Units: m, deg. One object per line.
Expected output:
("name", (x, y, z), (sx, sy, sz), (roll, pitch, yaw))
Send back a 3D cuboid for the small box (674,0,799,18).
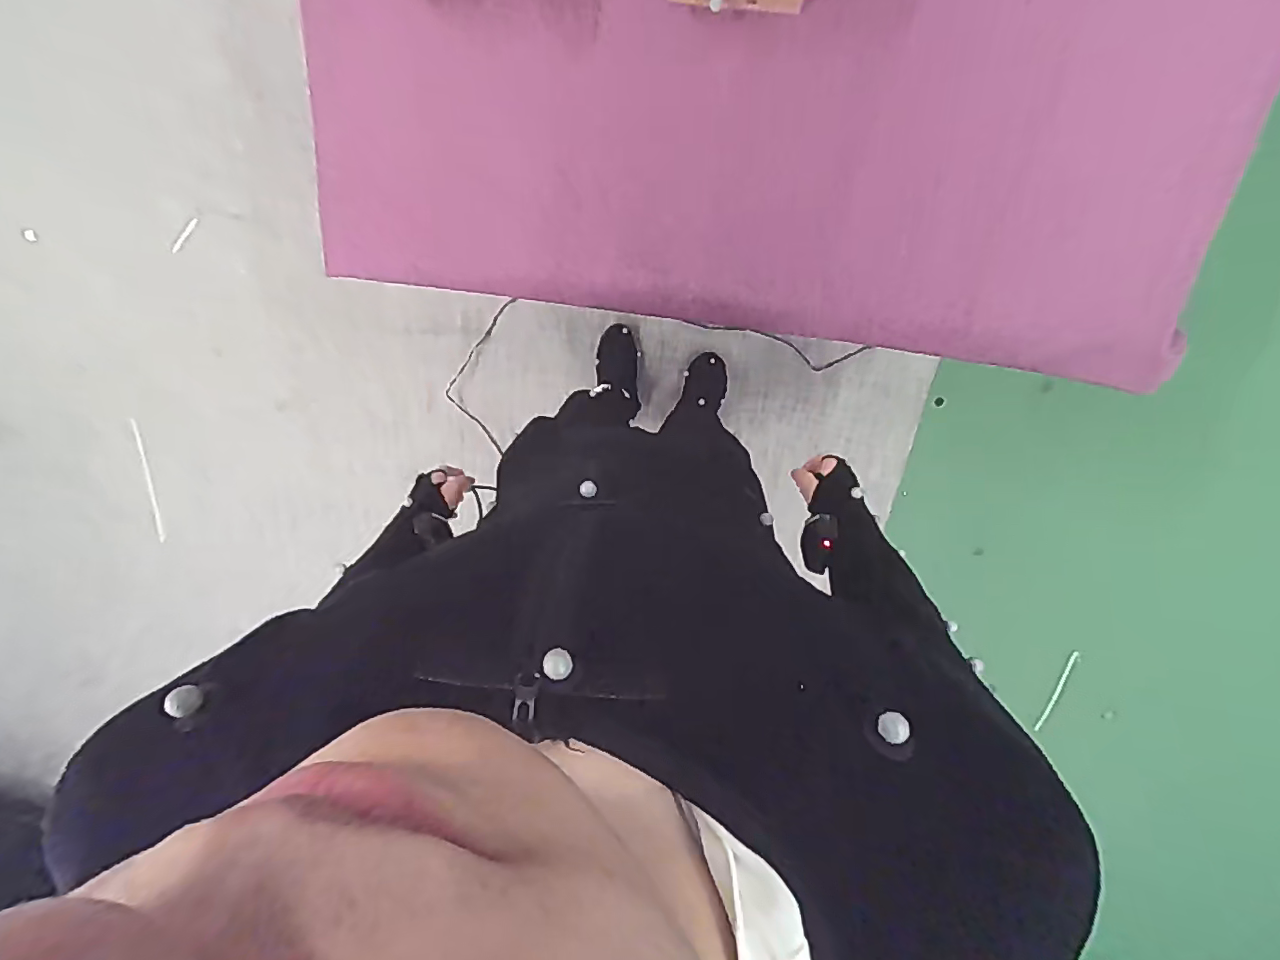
("small box", (0.111, -0.635, 0.565), (0.168, 0.176, 0.179), (10, 111, 6))
